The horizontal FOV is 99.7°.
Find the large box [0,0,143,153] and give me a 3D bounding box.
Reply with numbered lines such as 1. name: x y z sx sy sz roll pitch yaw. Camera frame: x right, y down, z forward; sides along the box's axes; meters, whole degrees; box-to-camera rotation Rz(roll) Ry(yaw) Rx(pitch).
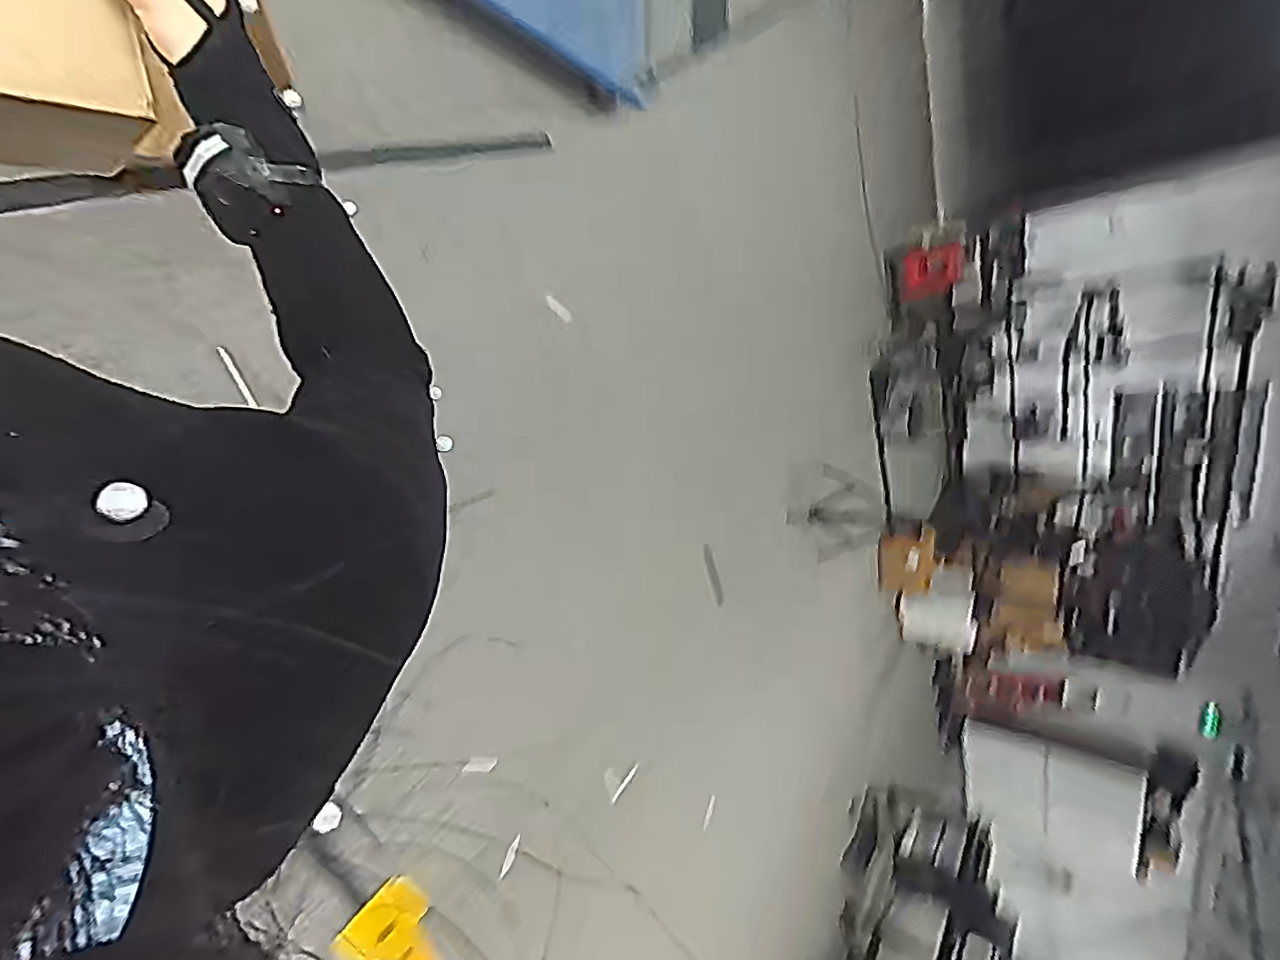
1. large box: -0.602 -0.398 0.299 0.408 0.320 0.320 -21 118 -43
